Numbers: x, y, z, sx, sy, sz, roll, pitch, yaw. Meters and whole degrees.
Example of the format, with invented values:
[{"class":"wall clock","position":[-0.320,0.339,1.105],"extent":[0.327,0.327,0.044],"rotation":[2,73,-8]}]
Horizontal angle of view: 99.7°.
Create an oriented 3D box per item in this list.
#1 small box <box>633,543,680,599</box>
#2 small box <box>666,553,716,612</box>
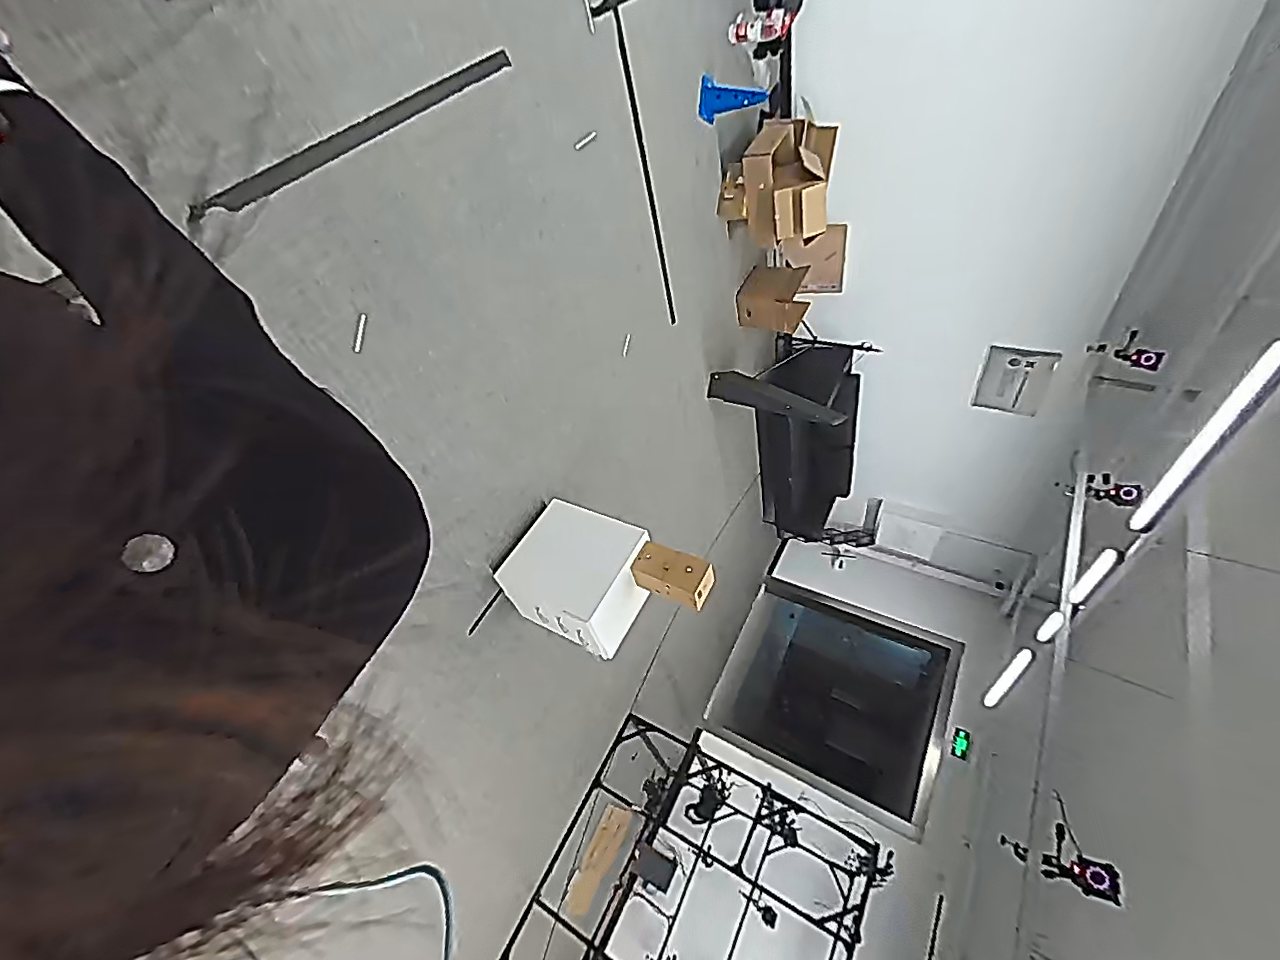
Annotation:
[{"class":"small box","position":[0.088,0.419,2.520],"extent":[0.168,0.176,0.179],"rotation":[-56,149,-29]},{"class":"small box","position":[0.227,0.460,2.441],"extent":[0.179,0.176,0.168],"rotation":[-56,149,-30]}]
